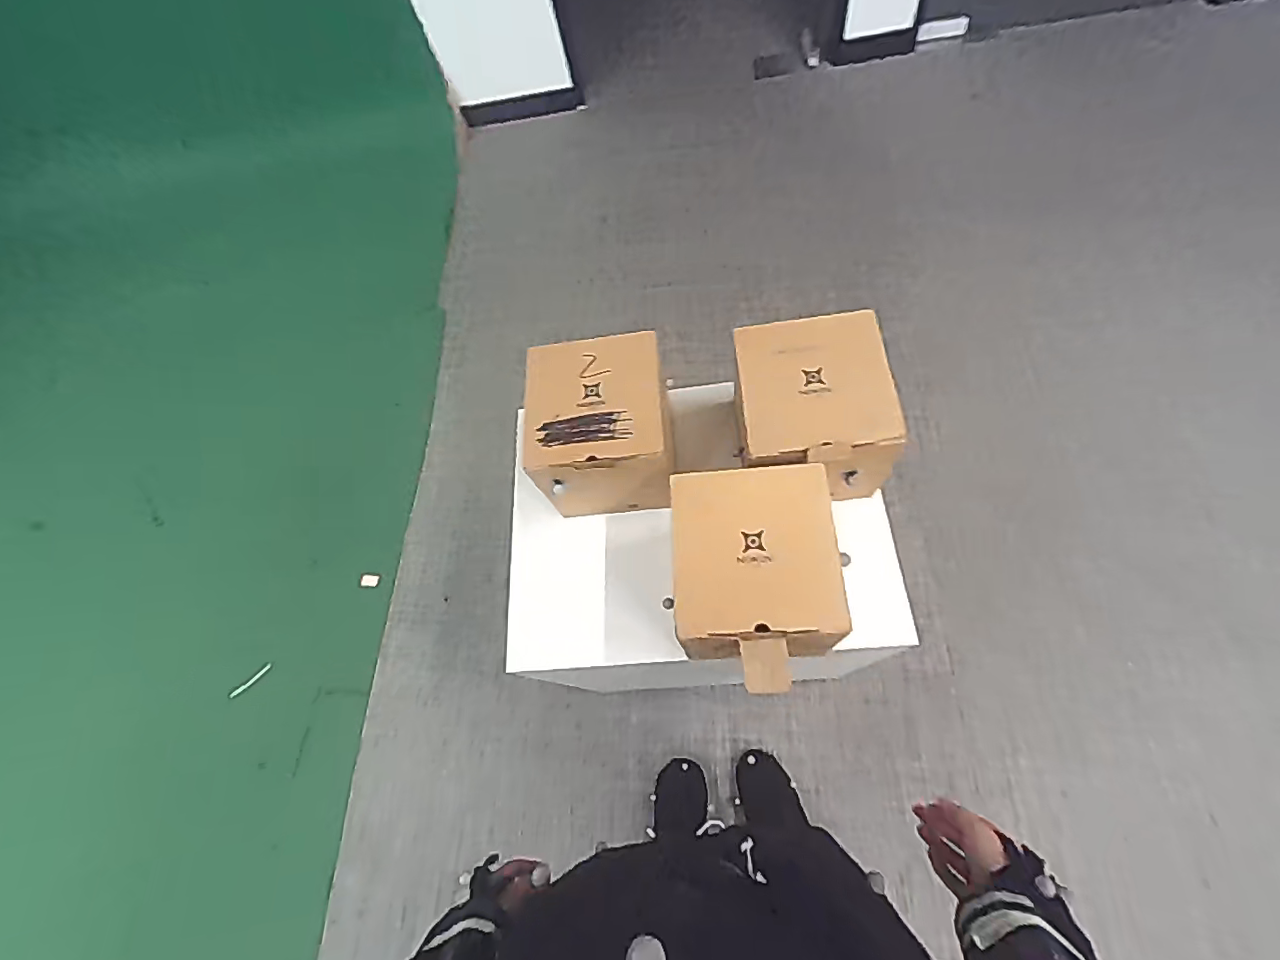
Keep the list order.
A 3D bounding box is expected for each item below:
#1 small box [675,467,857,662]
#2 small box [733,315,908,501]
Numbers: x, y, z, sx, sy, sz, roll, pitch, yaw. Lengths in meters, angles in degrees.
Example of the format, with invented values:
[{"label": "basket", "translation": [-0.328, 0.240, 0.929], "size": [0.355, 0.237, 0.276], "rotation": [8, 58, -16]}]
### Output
[{"label": "small box", "translation": [0.129, 0.103, 0.613], "size": [0.168, 0.176, 0.179], "rotation": [-5, 65, 7]}, {"label": "small box", "translation": [0.209, -0.074, 0.679], "size": [0.168, 0.176, 0.179], "rotation": [-6, 65, 6]}]
